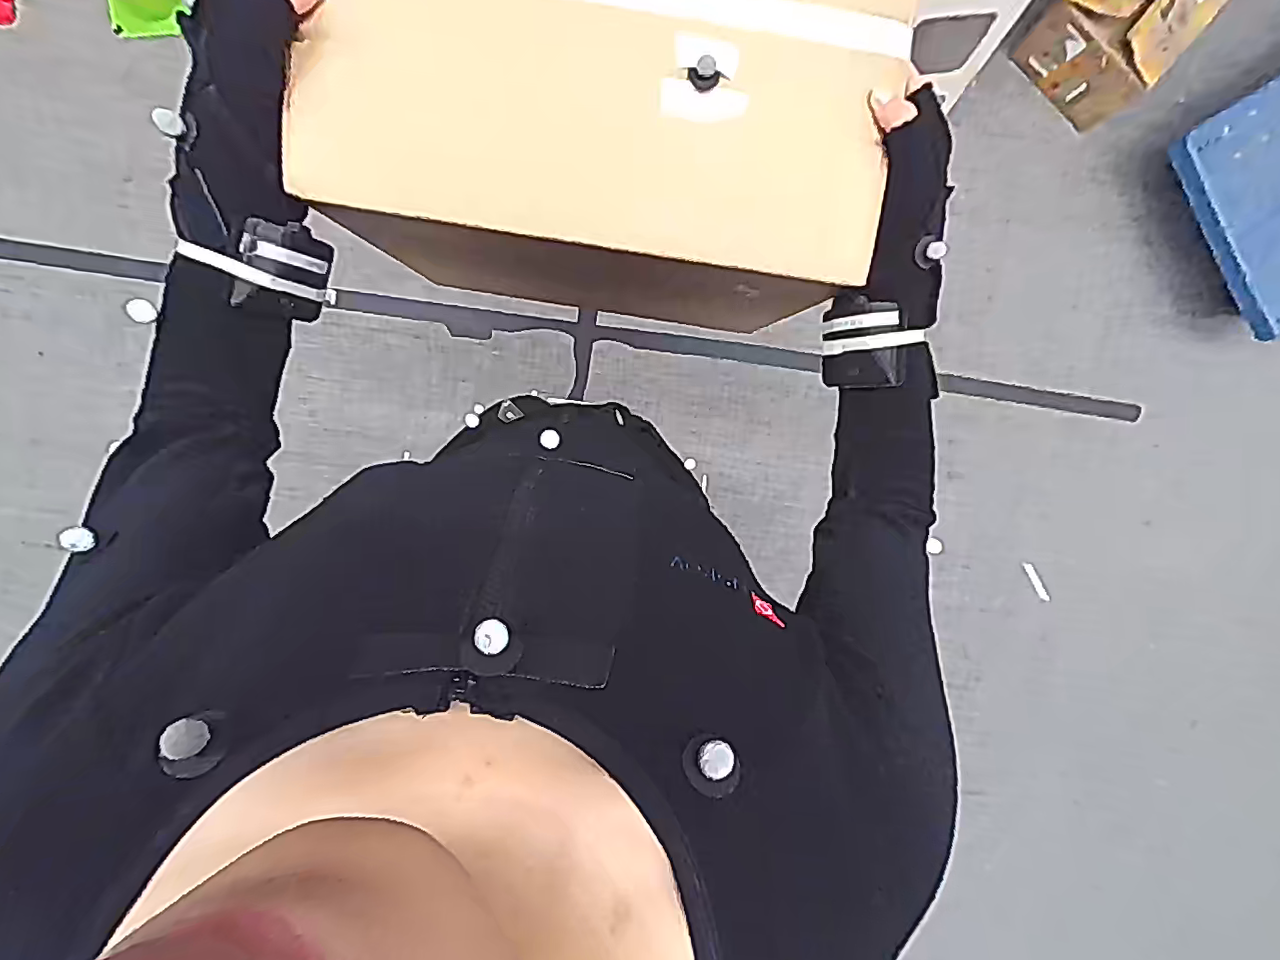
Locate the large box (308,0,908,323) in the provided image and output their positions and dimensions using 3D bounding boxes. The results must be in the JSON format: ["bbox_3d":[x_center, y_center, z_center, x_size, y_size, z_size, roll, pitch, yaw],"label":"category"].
[{"bbox_3d":[-0.025,-0.349,0.511,0.408,0.320,0.320,7,98,-5],"label":"large box"}]
